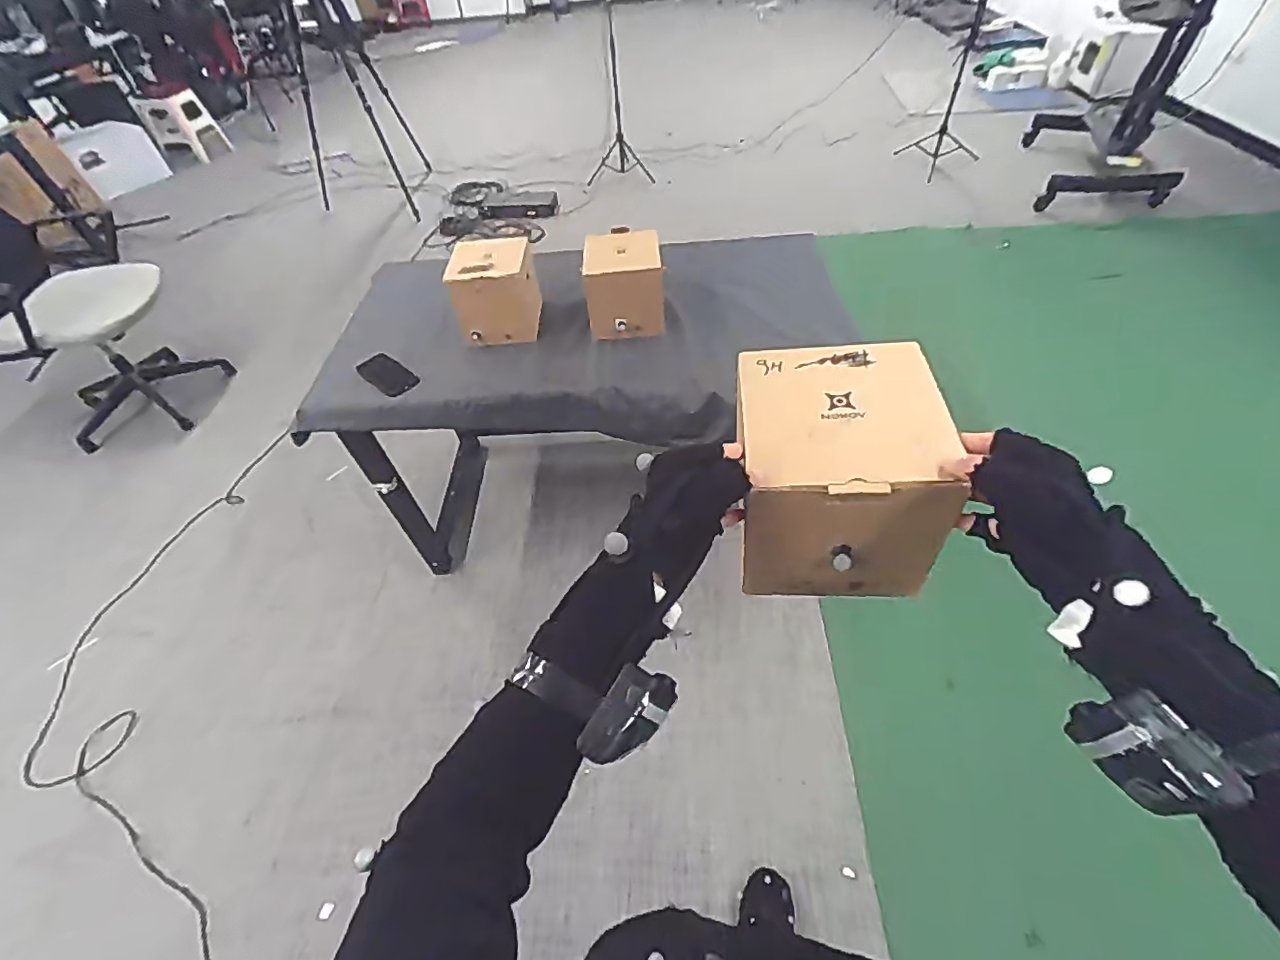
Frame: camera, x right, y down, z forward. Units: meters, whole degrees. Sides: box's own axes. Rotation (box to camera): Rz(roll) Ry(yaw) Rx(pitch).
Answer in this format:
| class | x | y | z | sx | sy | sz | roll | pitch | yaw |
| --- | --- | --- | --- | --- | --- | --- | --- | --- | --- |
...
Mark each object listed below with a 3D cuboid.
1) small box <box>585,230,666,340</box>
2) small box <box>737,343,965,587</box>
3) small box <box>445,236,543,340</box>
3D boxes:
| class | x | y | z | sx | sy | sz | roll | pitch | yaw |
| --- | --- | --- | --- | --- | --- | --- | --- | --- | --- |
| small box | -0.029 | -0.440 | 1.226 | 0.168 | 0.176 | 0.179 | -5 | 50 | 2 |
| small box | 0.181 | -0.009 | 0.527 | 0.168 | 0.176 | 0.179 | -1 | 51 | 8 |
| small box | -0.324 | -0.434 | 1.242 | 0.168 | 0.176 | 0.179 | -4 | 48 | 1 |
